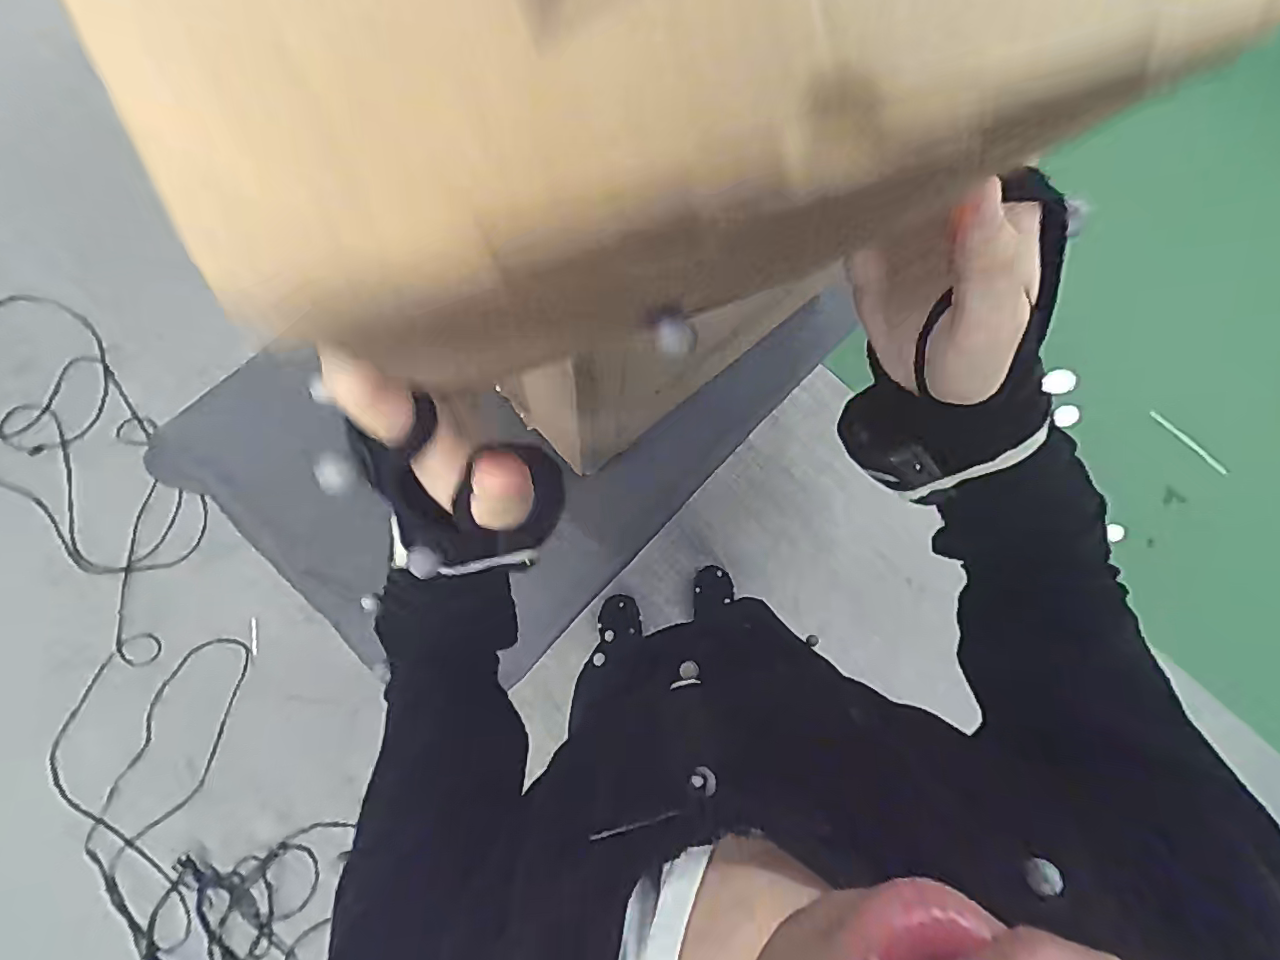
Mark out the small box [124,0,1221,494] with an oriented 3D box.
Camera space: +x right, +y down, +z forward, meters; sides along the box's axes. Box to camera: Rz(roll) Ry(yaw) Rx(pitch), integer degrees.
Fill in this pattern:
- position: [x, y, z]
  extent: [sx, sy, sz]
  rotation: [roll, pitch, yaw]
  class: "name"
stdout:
- position: [-0.011, -0.116, 0.149]
  extent: [0.168, 0.176, 0.179]
  rotation: [-22, 104, -8]
  class: "small box"
